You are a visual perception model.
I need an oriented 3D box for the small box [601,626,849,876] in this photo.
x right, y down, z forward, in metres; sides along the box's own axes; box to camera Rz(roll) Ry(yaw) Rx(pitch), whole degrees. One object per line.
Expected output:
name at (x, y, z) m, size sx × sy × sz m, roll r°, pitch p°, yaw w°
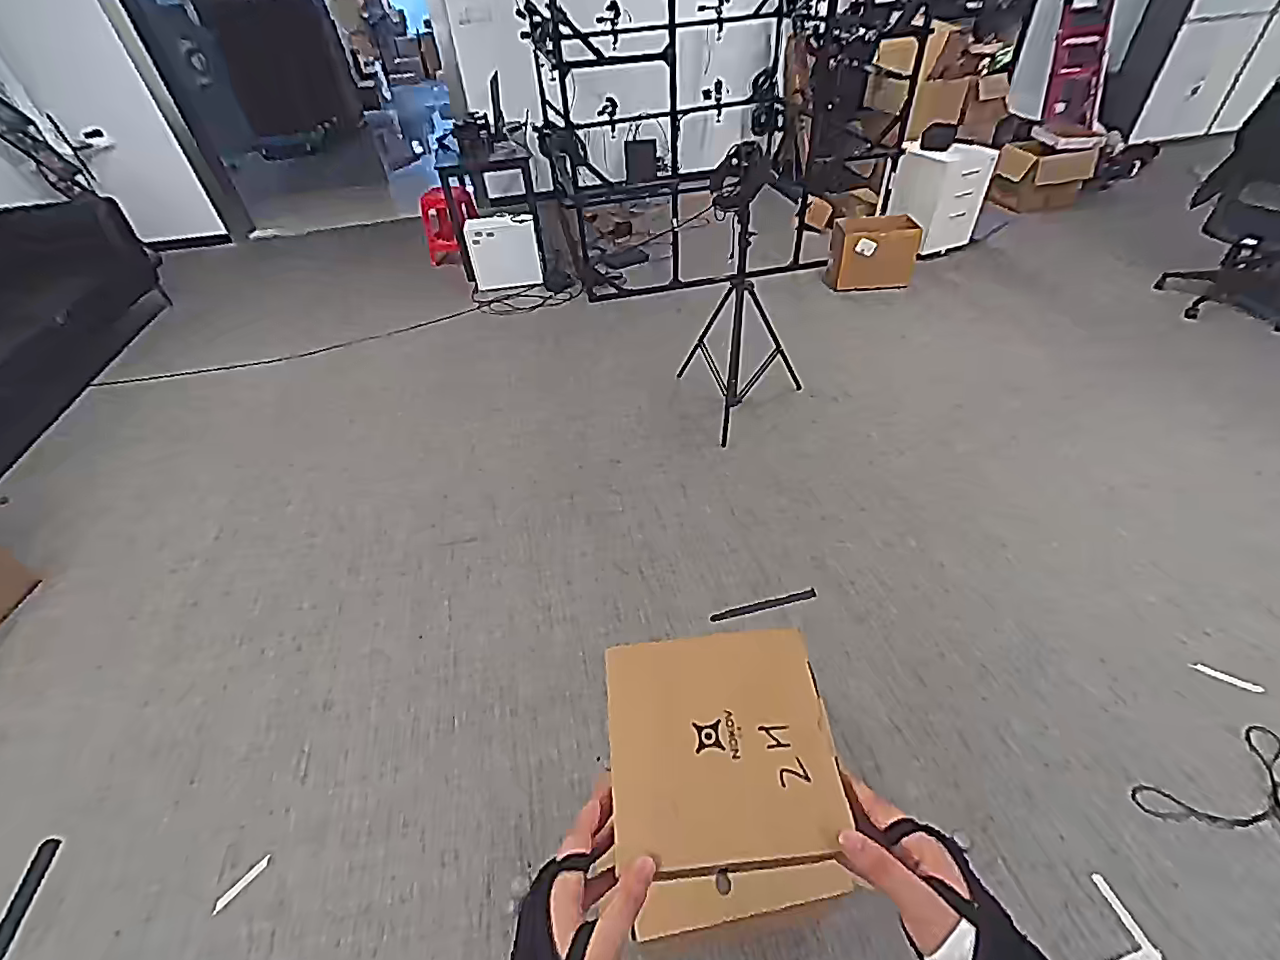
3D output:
small box at (0.064, 0.253, 0.497) m, size 0.179 × 0.176 × 0.168 m, roll -6°, pitch 52°, yaw -1°
